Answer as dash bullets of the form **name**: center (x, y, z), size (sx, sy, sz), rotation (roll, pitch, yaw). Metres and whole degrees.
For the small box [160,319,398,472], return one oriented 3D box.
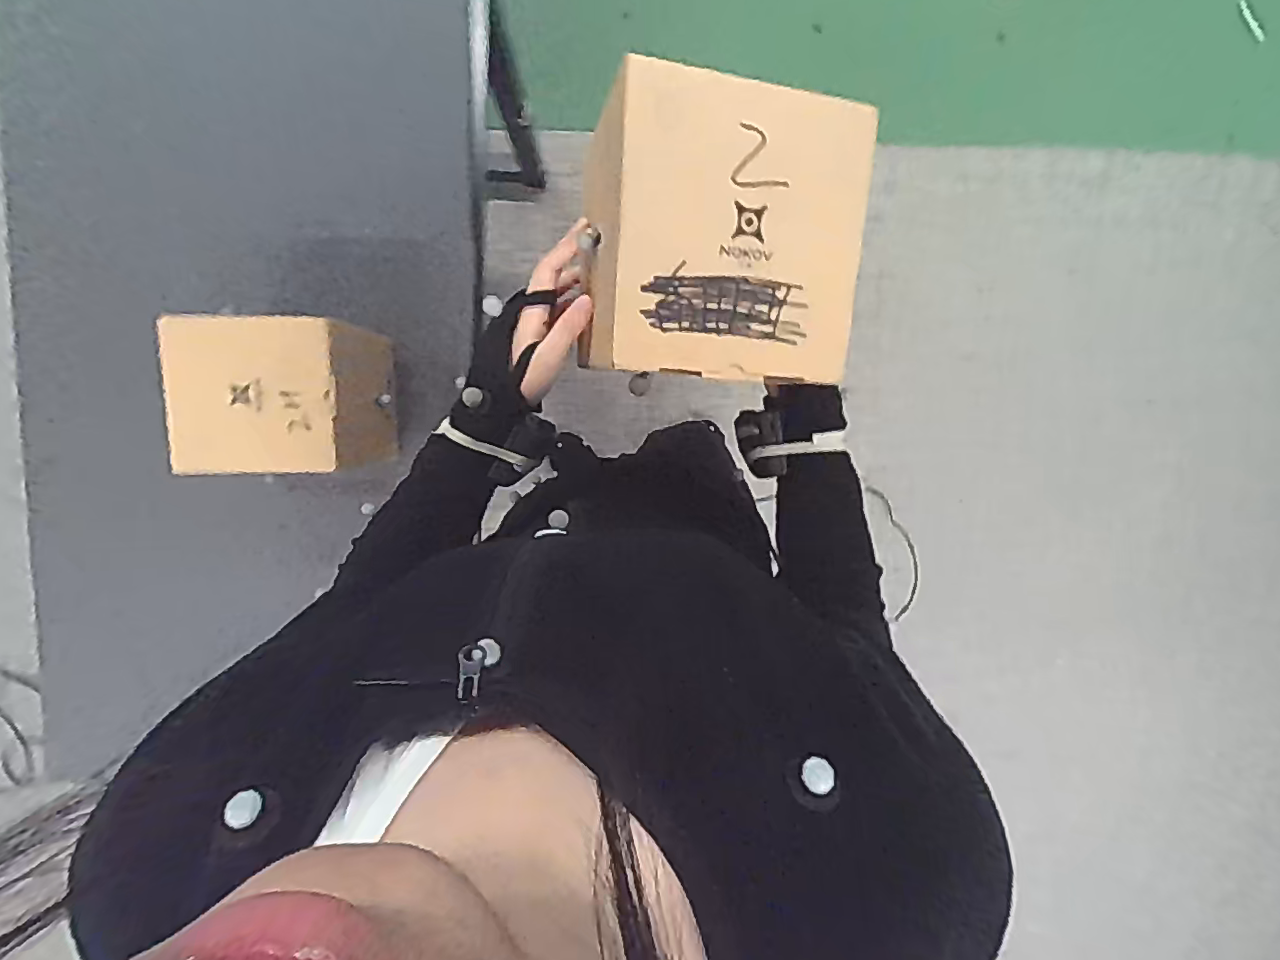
- **small box**: center (-0.420, -0.098, 0.658), size (0.179, 0.176, 0.168), rotation (-1, 98, -2)
